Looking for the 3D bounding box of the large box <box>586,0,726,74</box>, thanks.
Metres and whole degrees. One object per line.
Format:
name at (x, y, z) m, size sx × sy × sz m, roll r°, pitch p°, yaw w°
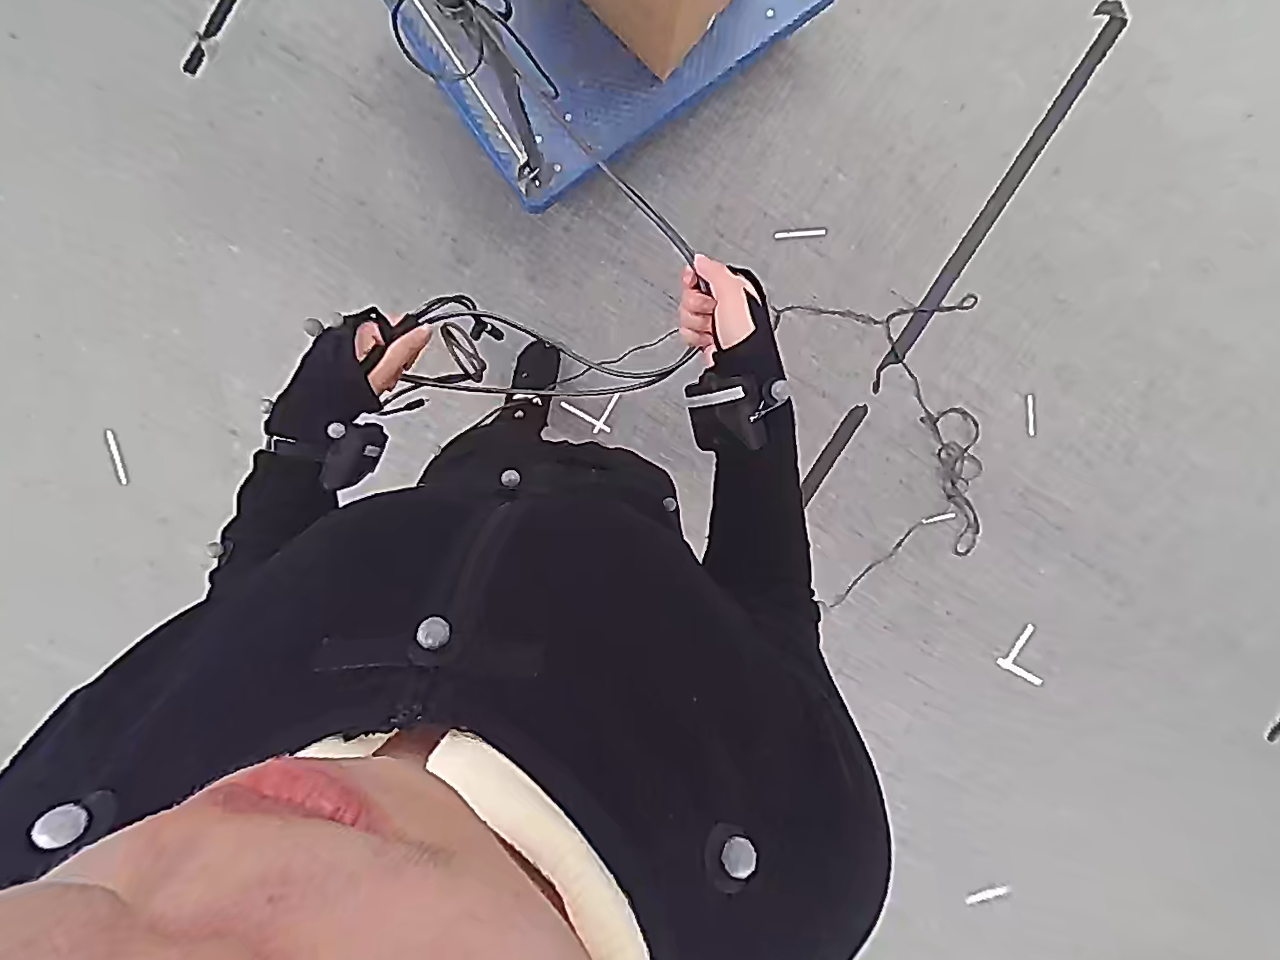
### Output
large box at (0.012, -1.098, 0.998) m, size 0.408 × 0.320 × 0.320 m, roll 40°, pitch 95°, yaw -10°
